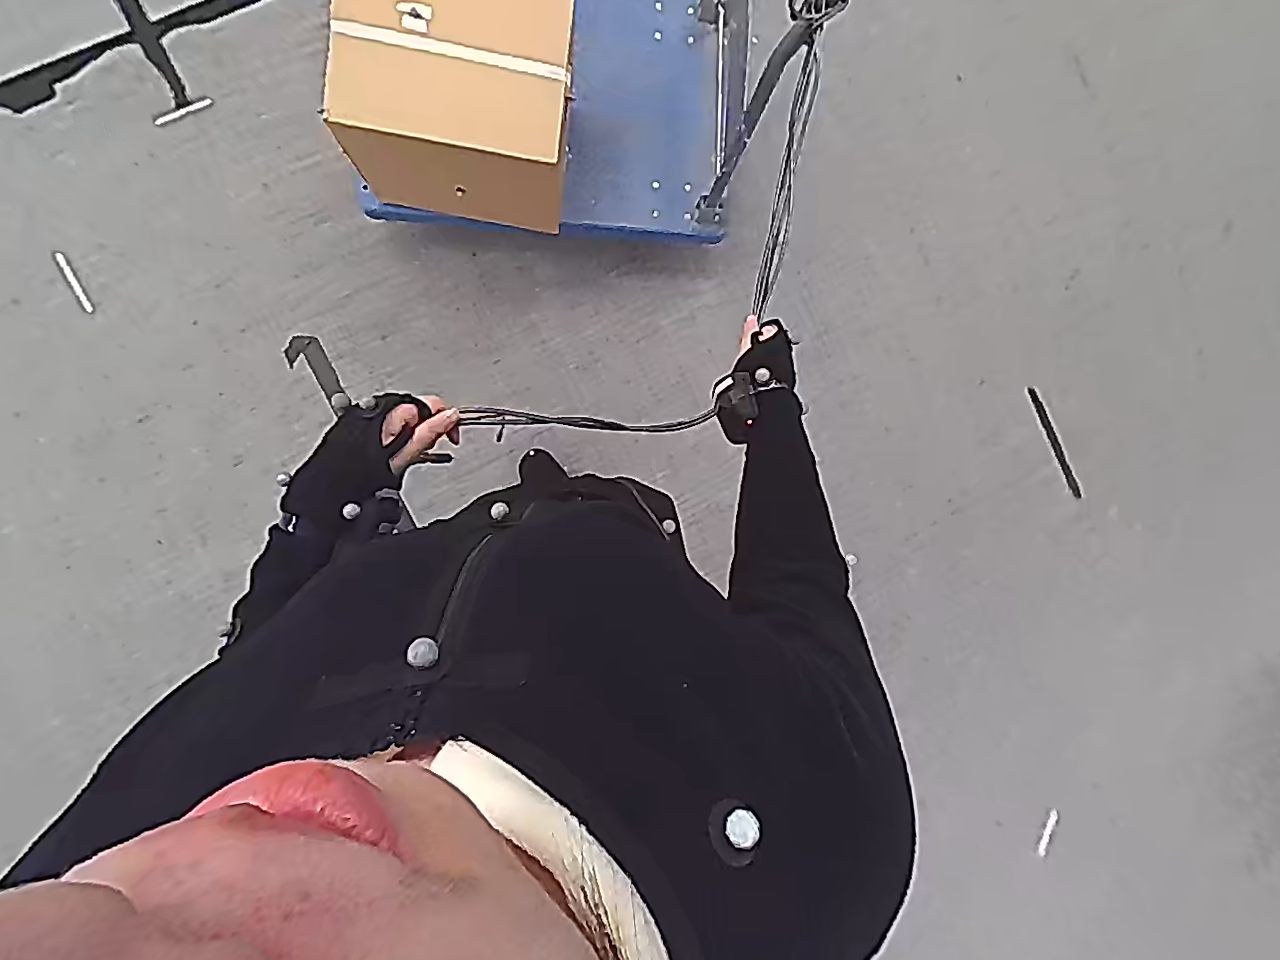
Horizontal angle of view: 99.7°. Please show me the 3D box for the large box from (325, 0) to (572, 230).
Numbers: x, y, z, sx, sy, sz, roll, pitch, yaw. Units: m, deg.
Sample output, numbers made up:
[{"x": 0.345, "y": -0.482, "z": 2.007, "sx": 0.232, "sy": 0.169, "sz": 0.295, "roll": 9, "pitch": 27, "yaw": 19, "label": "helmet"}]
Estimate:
[{"x": -0.349, "y": -0.745, "z": 1.094, "sx": 0.408, "sy": 0.320, "sz": 0.320, "roll": 6, "pitch": 91, "yaw": -8, "label": "large box"}]
